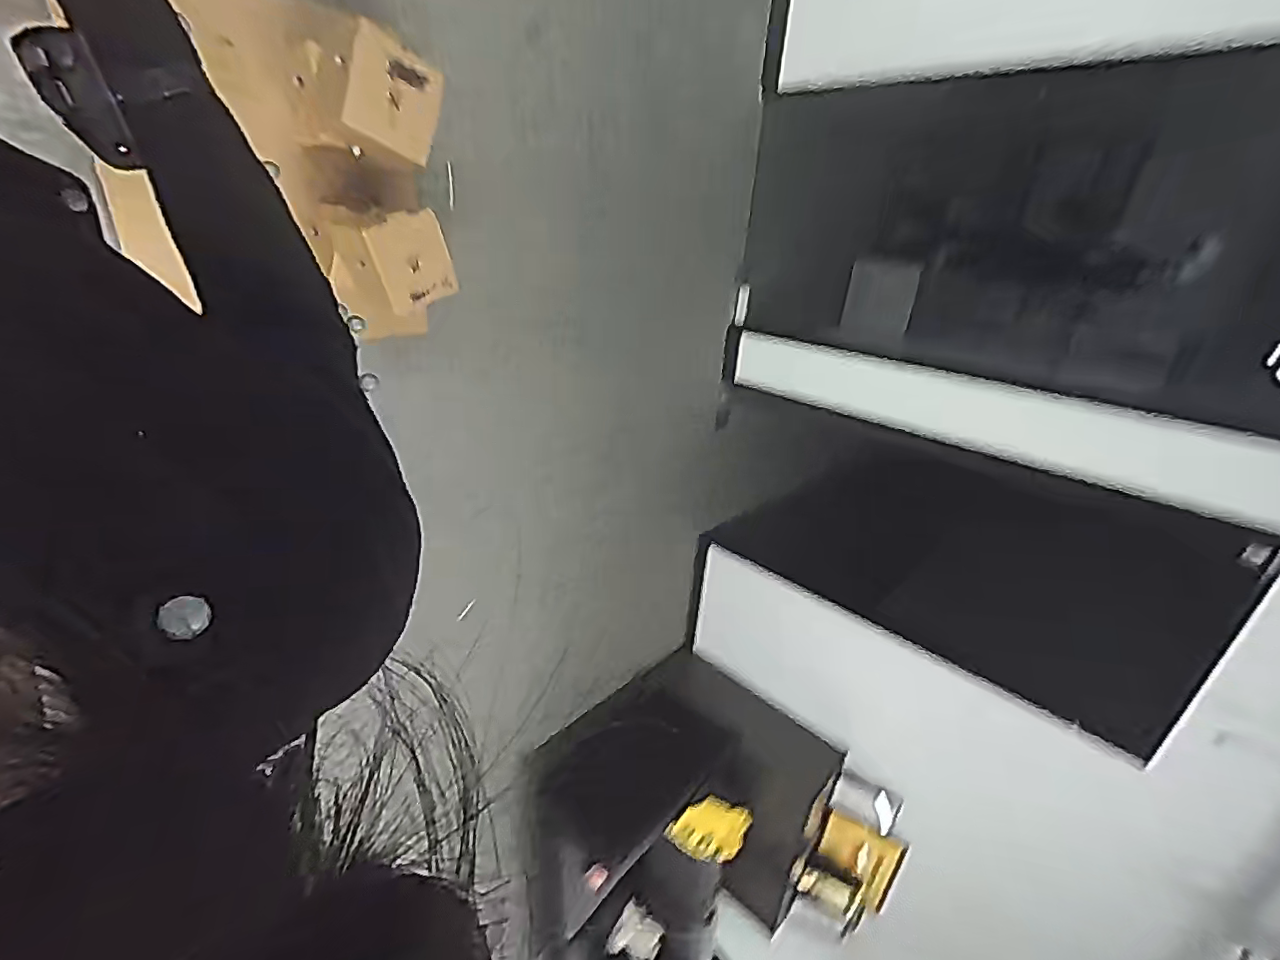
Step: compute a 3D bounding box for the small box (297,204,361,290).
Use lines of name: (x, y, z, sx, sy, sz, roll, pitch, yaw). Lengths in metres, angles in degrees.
small box: (-0.666, -0.532, 1.268, 0.179, 0.176, 0.168, 5, 106, -53)

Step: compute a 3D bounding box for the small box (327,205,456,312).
small box: (-0.539, -0.486, 1.175, 0.168, 0.176, 0.179, -38, 136, -33)

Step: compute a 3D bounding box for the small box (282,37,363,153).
small box: (-0.636, -0.804, 1.150, 0.179, 0.176, 0.168, -19, 125, -45)

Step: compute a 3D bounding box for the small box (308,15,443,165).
small box: (-0.517, -0.746, 1.051, 0.168, 0.176, 0.179, 5, 107, -53)
